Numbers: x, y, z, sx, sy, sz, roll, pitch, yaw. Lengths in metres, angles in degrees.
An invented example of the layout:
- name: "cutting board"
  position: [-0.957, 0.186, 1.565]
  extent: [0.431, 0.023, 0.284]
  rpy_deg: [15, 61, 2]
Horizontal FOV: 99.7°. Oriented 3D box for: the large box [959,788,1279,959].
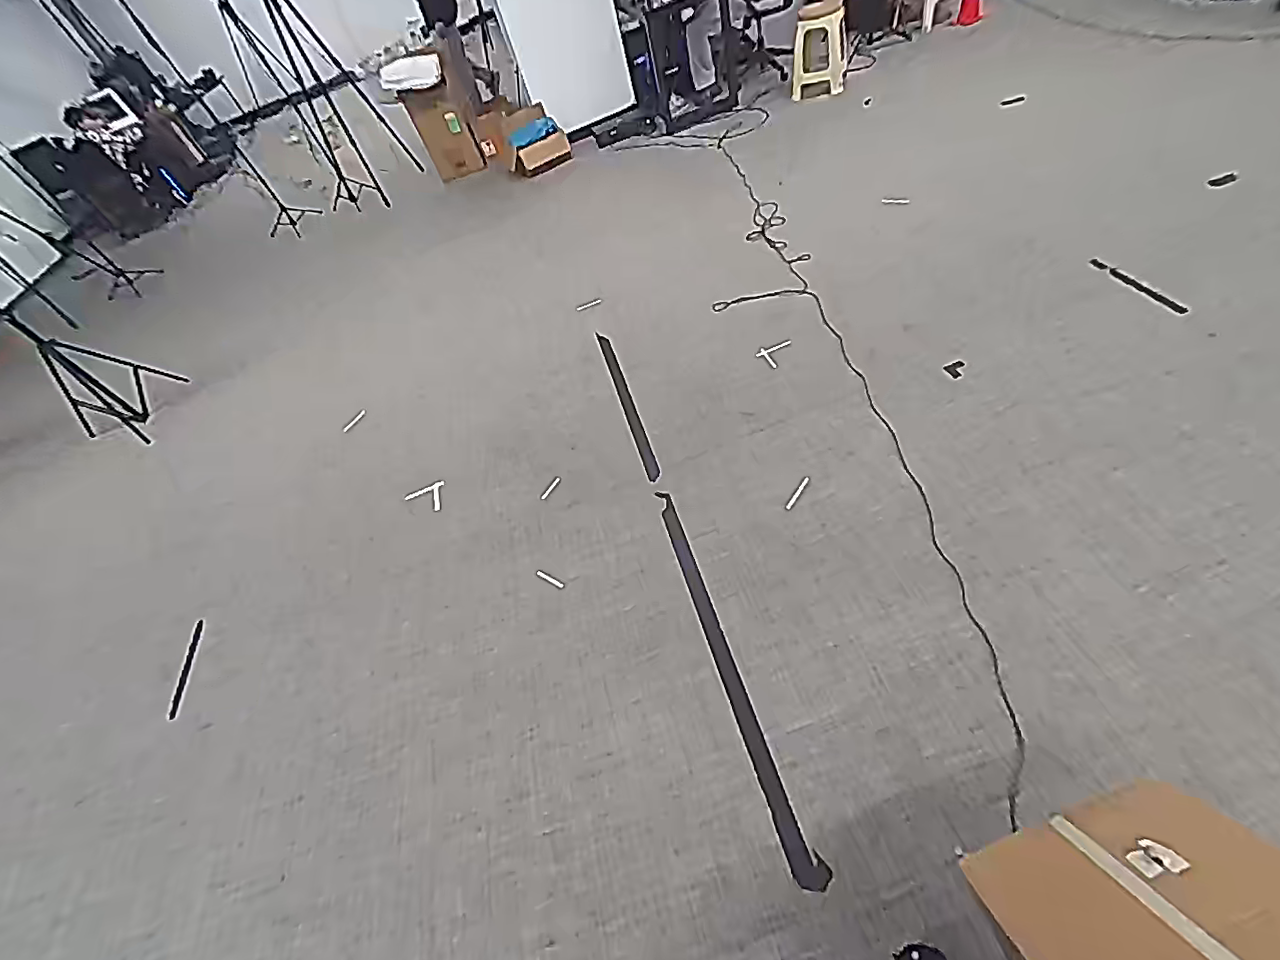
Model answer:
- name: "large box"
  position: [0.652, 0.625, 0.580]
  extent: [0.320, 0.408, 0.320]
  rpy_deg: [-25, 81, 4]
